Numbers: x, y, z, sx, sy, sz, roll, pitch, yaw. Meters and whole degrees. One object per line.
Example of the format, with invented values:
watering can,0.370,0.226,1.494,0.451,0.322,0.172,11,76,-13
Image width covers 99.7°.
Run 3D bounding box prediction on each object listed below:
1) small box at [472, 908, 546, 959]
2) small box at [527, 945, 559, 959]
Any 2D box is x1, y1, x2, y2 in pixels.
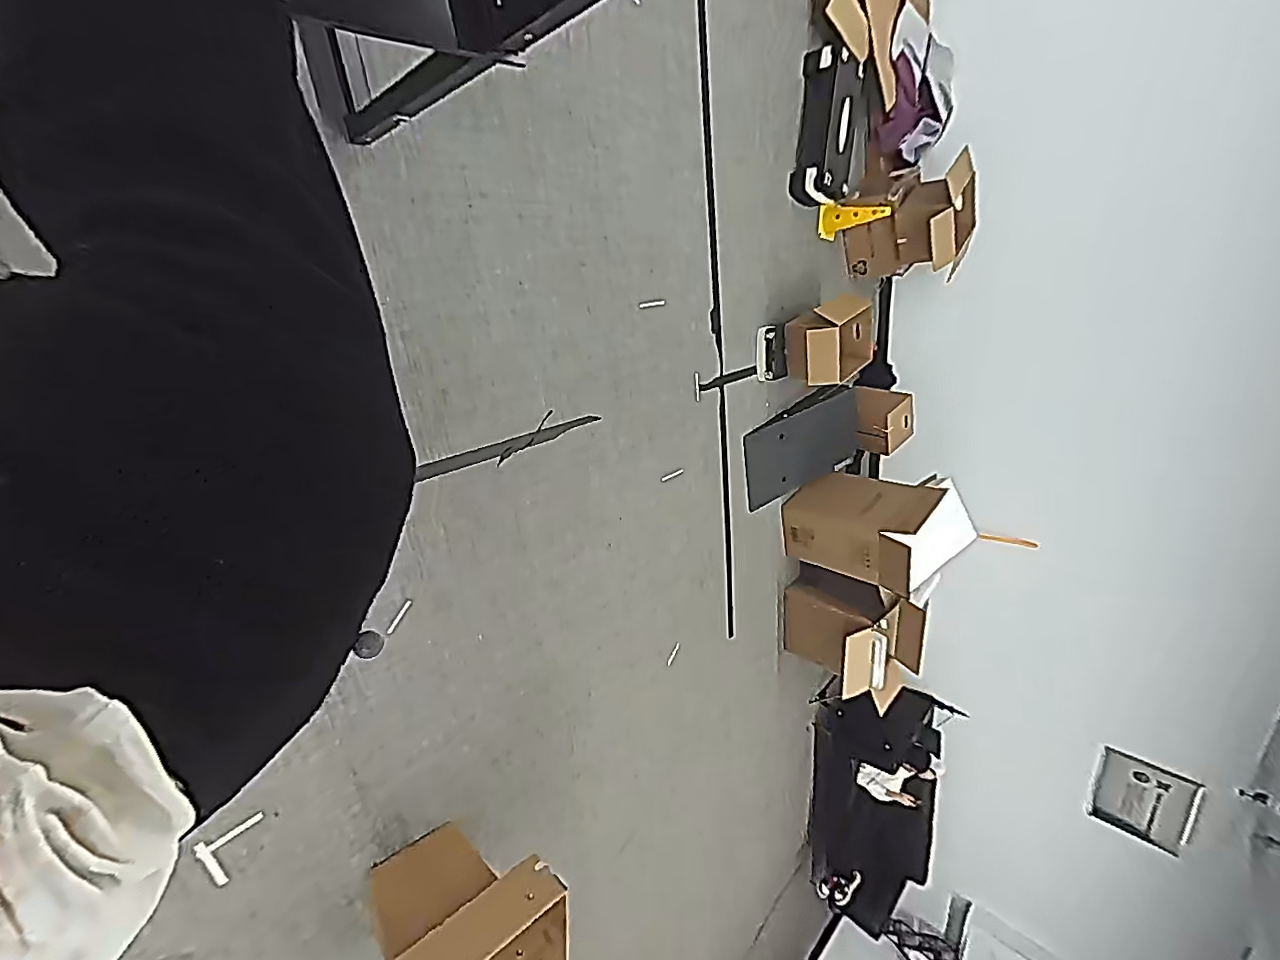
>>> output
small box,-0.418,1.550,1.745,0.179,0.176,0.168,-17,114,-42
small box,-0.294,1.583,1.641,0.168,0.176,0.179,-21,117,-43
